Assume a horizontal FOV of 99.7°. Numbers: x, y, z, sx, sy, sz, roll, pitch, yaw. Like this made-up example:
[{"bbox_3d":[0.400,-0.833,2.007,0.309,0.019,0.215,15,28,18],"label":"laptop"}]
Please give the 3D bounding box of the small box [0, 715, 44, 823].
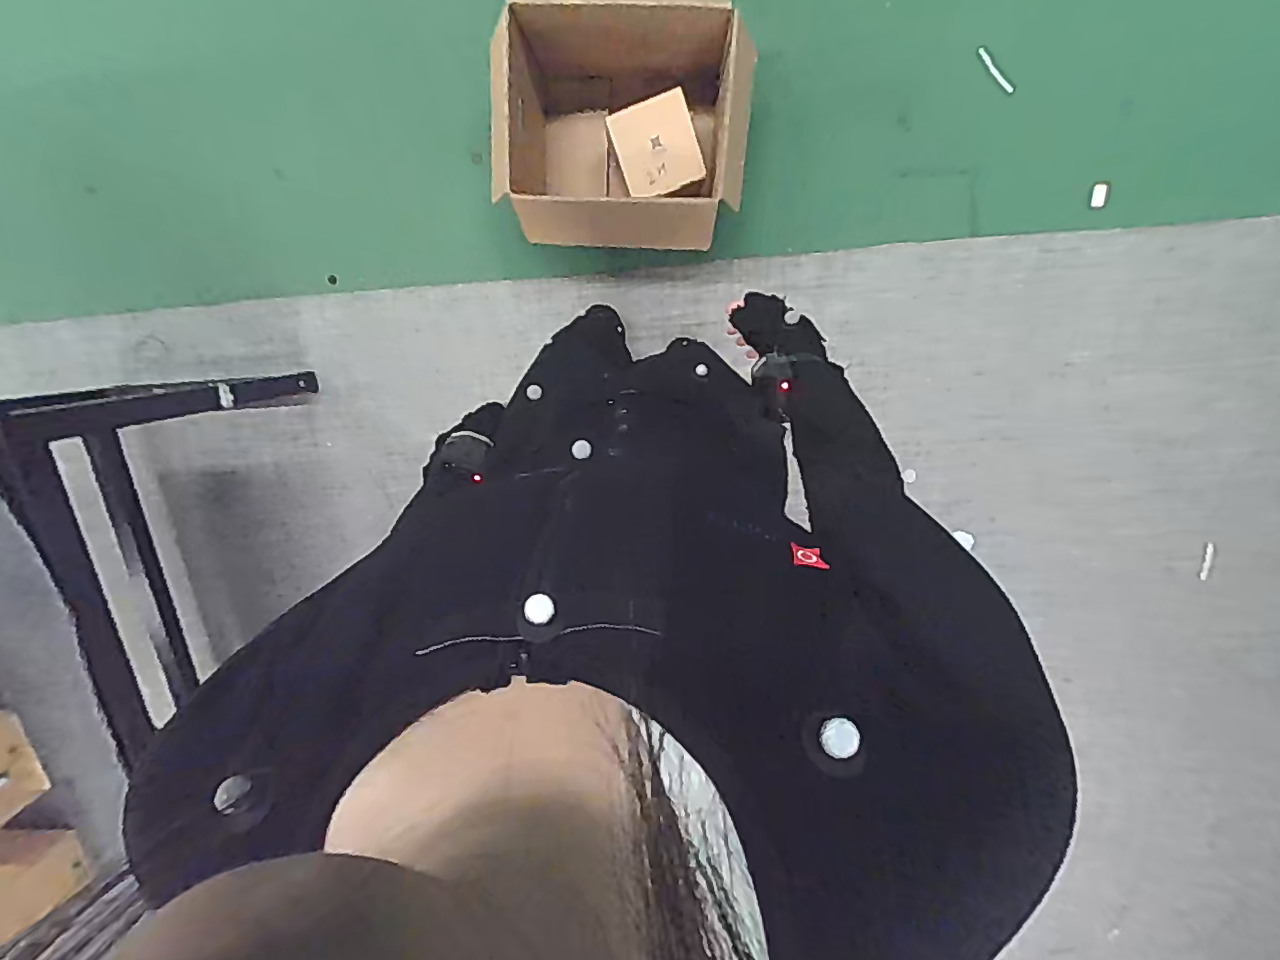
[{"bbox_3d":[-1.123,0.492,0.845,0.179,0.176,0.168,-4,105,4],"label":"small box"}]
